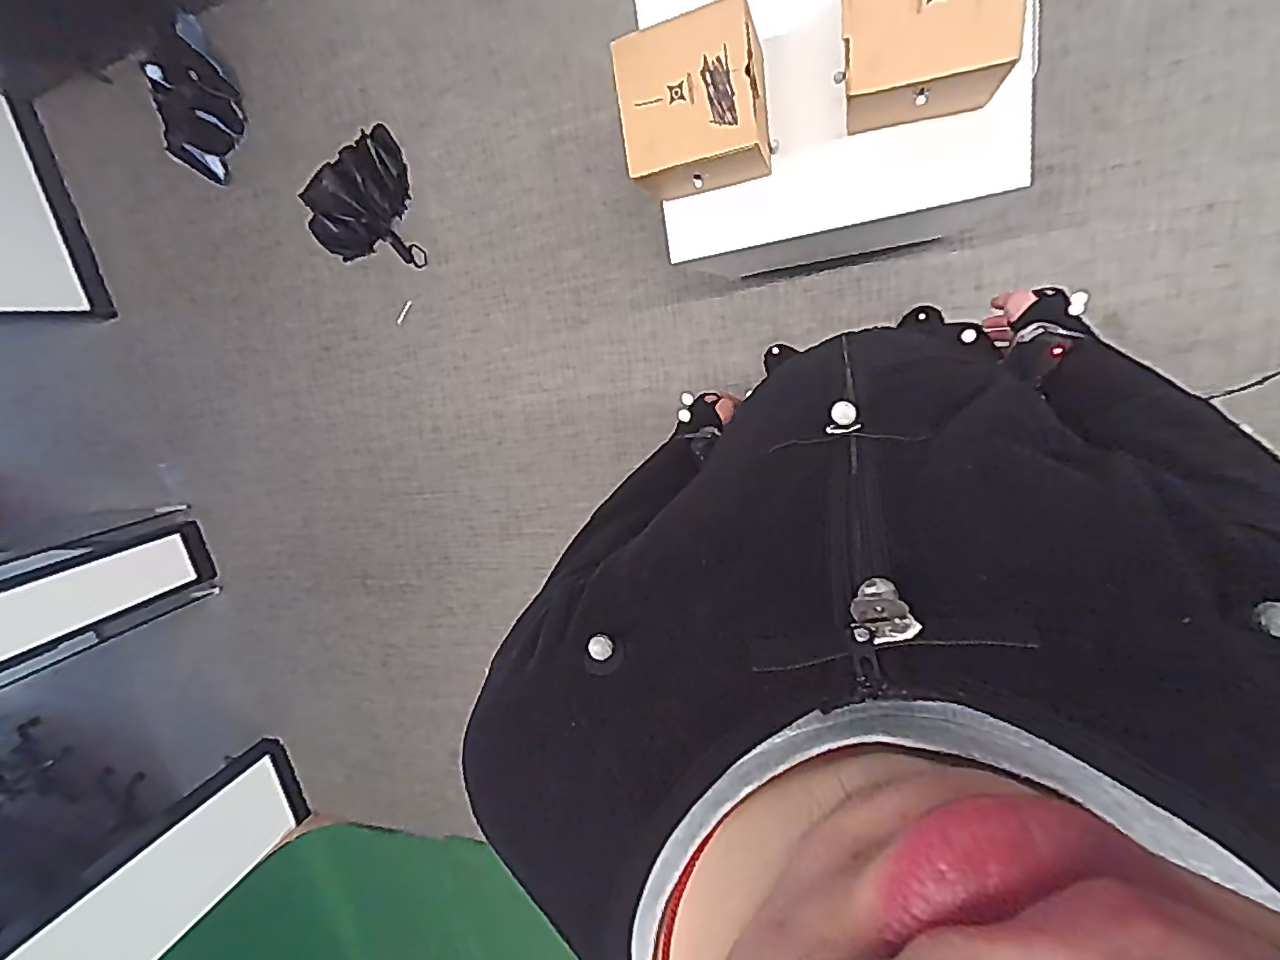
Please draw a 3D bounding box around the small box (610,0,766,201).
[{"bbox_3d":[0.079,-0.510,0.758,0.179,0.176,0.168,-3,105,21],"label":"small box"}]

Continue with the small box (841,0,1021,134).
[{"bbox_3d":[0.339,-0.544,0.653,0.179,0.176,0.168,0,108,20],"label":"small box"}]
